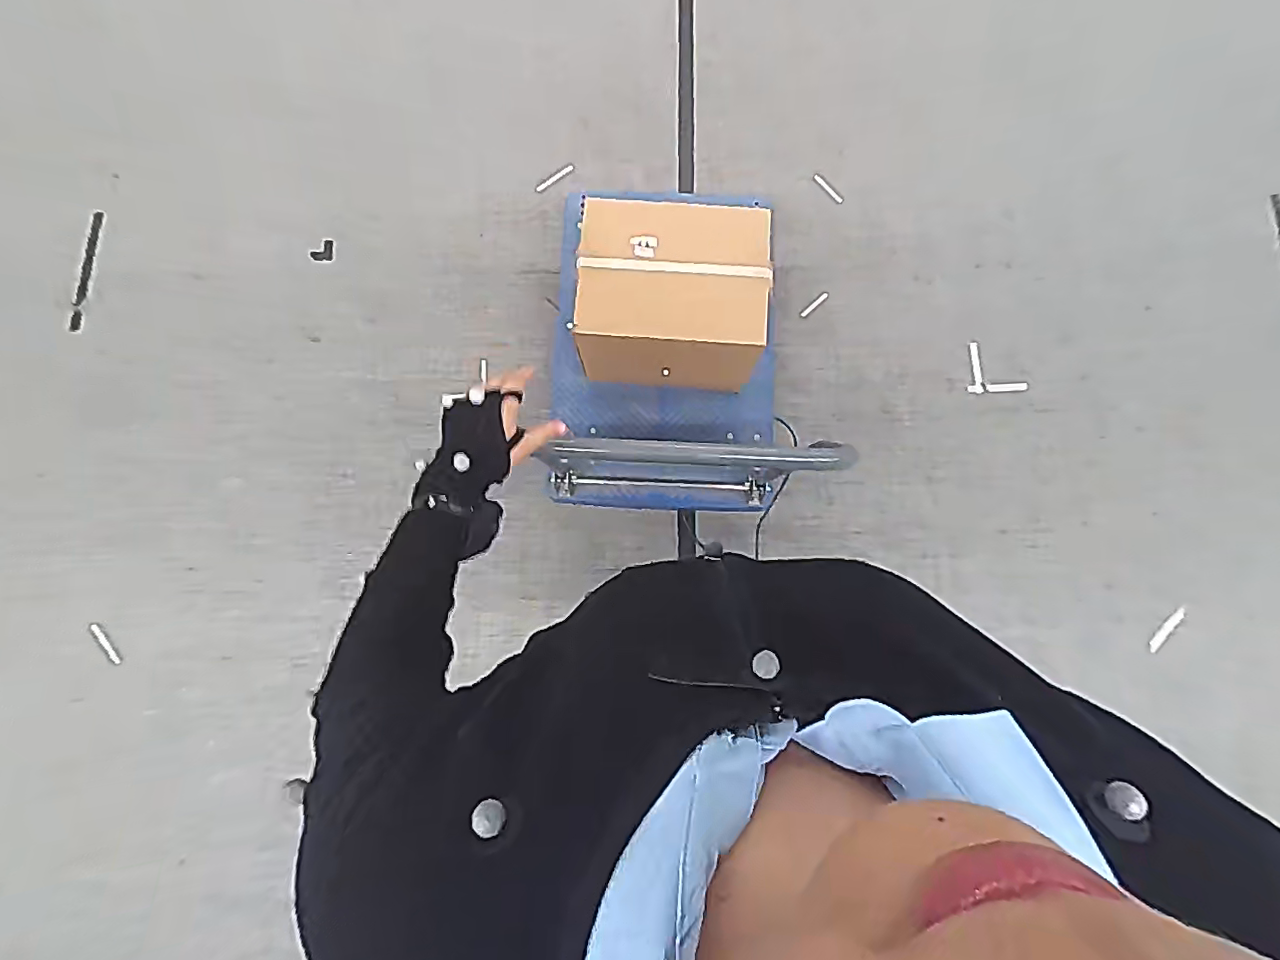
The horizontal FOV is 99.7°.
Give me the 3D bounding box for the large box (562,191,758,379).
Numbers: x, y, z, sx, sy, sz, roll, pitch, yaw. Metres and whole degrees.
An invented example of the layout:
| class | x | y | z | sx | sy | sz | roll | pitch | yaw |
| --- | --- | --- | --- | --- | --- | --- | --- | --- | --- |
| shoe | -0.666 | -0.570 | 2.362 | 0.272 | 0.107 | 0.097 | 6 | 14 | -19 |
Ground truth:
| class | x | y | z | sx | sy | sz | roll | pitch | yaw |
| --- | --- | --- | --- | --- | --- | --- | --- | --- | --- |
| large box | 0.049 | -0.435 | 1.268 | 0.408 | 0.320 | 0.320 | 3 | 81 | 1 |
